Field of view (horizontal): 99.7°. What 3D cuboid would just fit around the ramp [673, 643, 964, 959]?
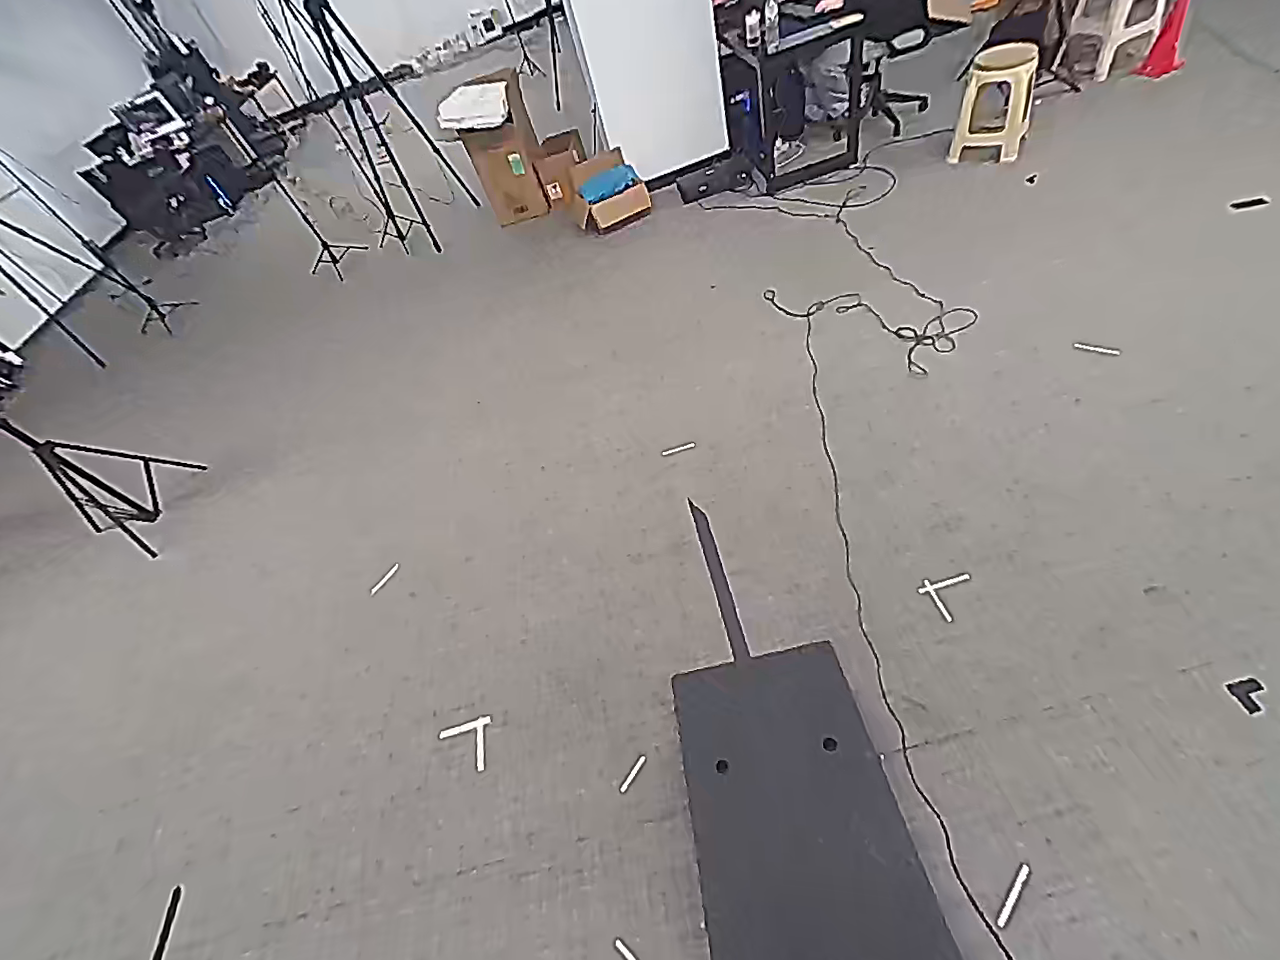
[{"bbox_3d":[0.371,0.854,1.242,0.509,0.206,0.991,-18,47,6],"label":"ramp"}]
